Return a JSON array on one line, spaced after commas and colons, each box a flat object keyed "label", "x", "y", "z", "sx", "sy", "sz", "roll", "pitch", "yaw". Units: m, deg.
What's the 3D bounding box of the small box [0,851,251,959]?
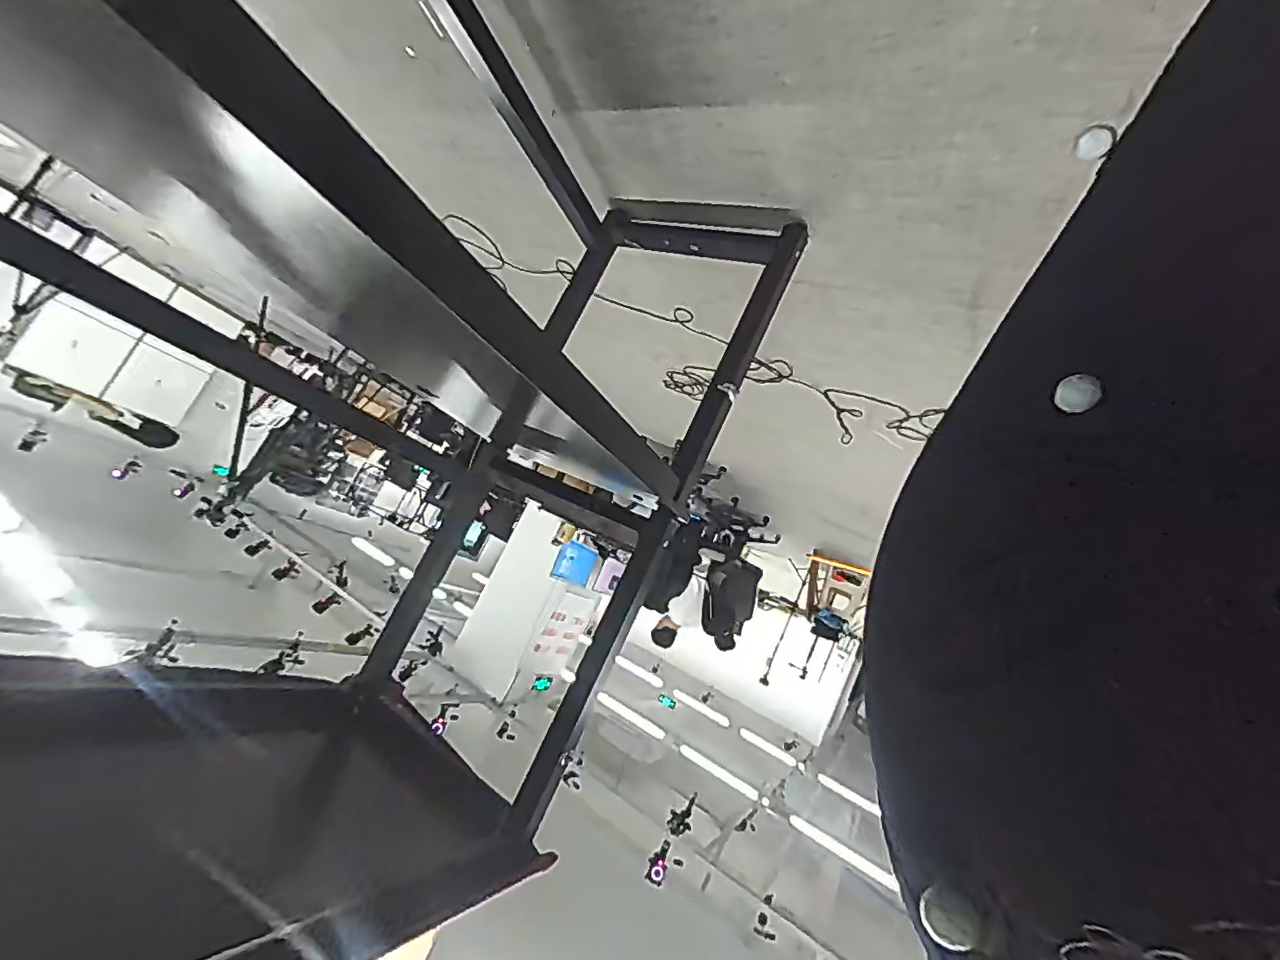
[{"label": "small box", "x": -0.598, "y": 0.567, "z": 0.614, "sx": 0.168, "sy": 0.176, "sz": 0.179, "roll": 22, "pitch": 170, "yaw": 28}]

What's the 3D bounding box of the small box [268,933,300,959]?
[{"label": "small box", "x": -0.505, "y": 0.844, "z": 0.877, "sx": 0.168, "sy": 0.176, "sz": 0.179, "roll": 19, "pitch": 169, "yaw": 33}]
